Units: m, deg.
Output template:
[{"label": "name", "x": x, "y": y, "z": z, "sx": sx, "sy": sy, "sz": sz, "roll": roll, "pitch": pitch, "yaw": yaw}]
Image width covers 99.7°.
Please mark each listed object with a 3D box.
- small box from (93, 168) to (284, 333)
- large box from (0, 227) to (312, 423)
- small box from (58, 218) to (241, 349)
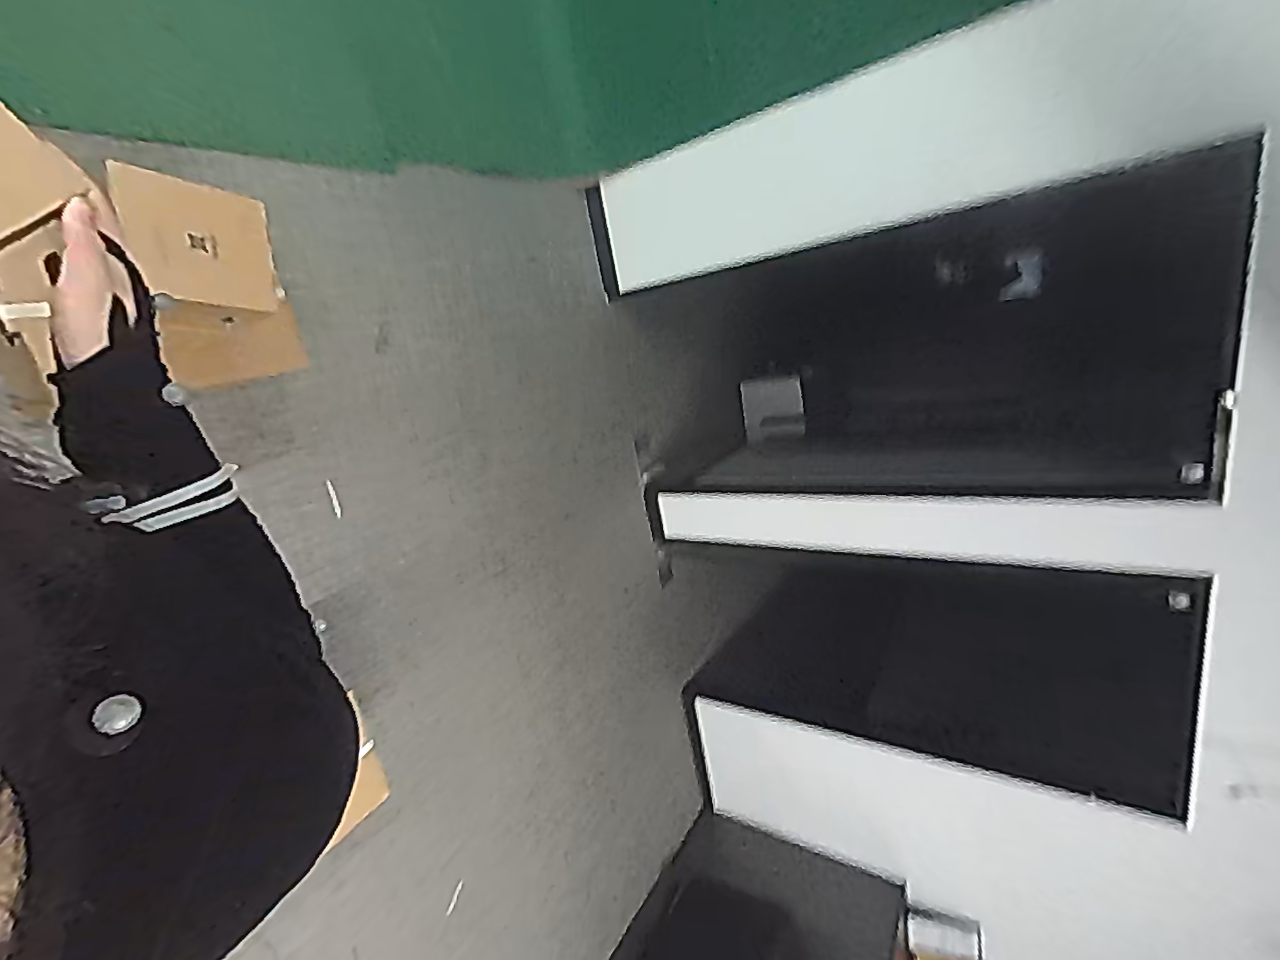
[{"label": "small box", "x": -0.665, "y": -0.321, "z": 0.801, "sx": 0.179, "sy": 0.176, "sz": 0.168, "roll": -9, "pitch": 96, "yaw": -53}, {"label": "large box", "x": -0.972, "y": -0.322, "z": 1.070, "sx": 0.408, "sy": 0.320, "sz": 0.320, "roll": -32, "pitch": 116, "yaw": -51}, {"label": "small box", "x": -0.802, "y": -0.312, "z": 0.889, "sx": 0.179, "sy": 0.176, "sz": 0.168, "roll": -15, "pitch": 101, "yaw": -54}]
